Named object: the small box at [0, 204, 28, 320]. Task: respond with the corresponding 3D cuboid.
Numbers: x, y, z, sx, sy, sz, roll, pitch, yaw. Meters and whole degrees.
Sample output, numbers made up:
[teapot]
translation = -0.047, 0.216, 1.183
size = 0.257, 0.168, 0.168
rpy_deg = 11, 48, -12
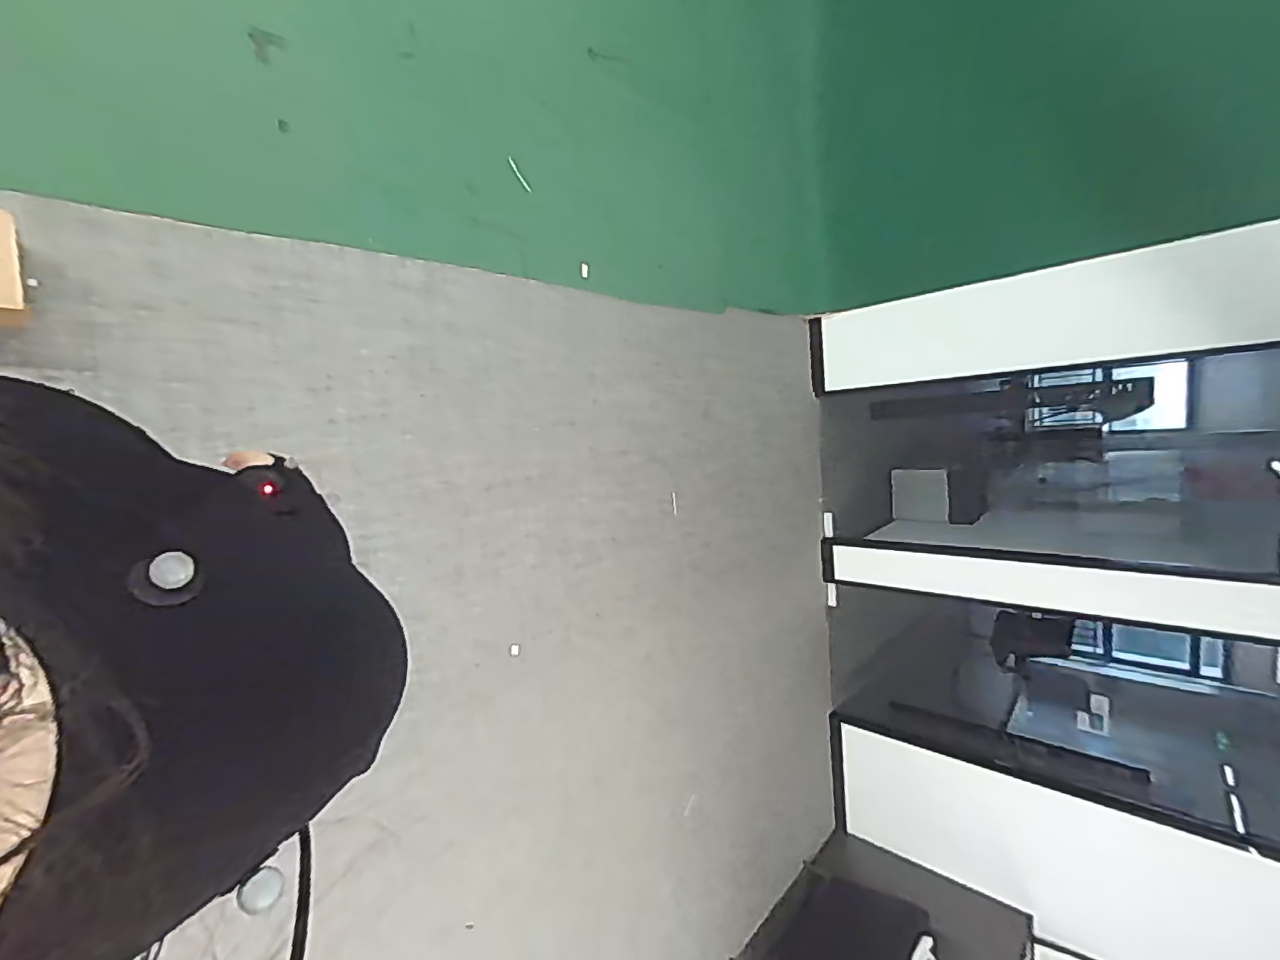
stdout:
[small box]
translation = -1.153, -0.370, 0.893
size = 0.179, 0.176, 0.168
rpy_deg = -6, 96, -47
